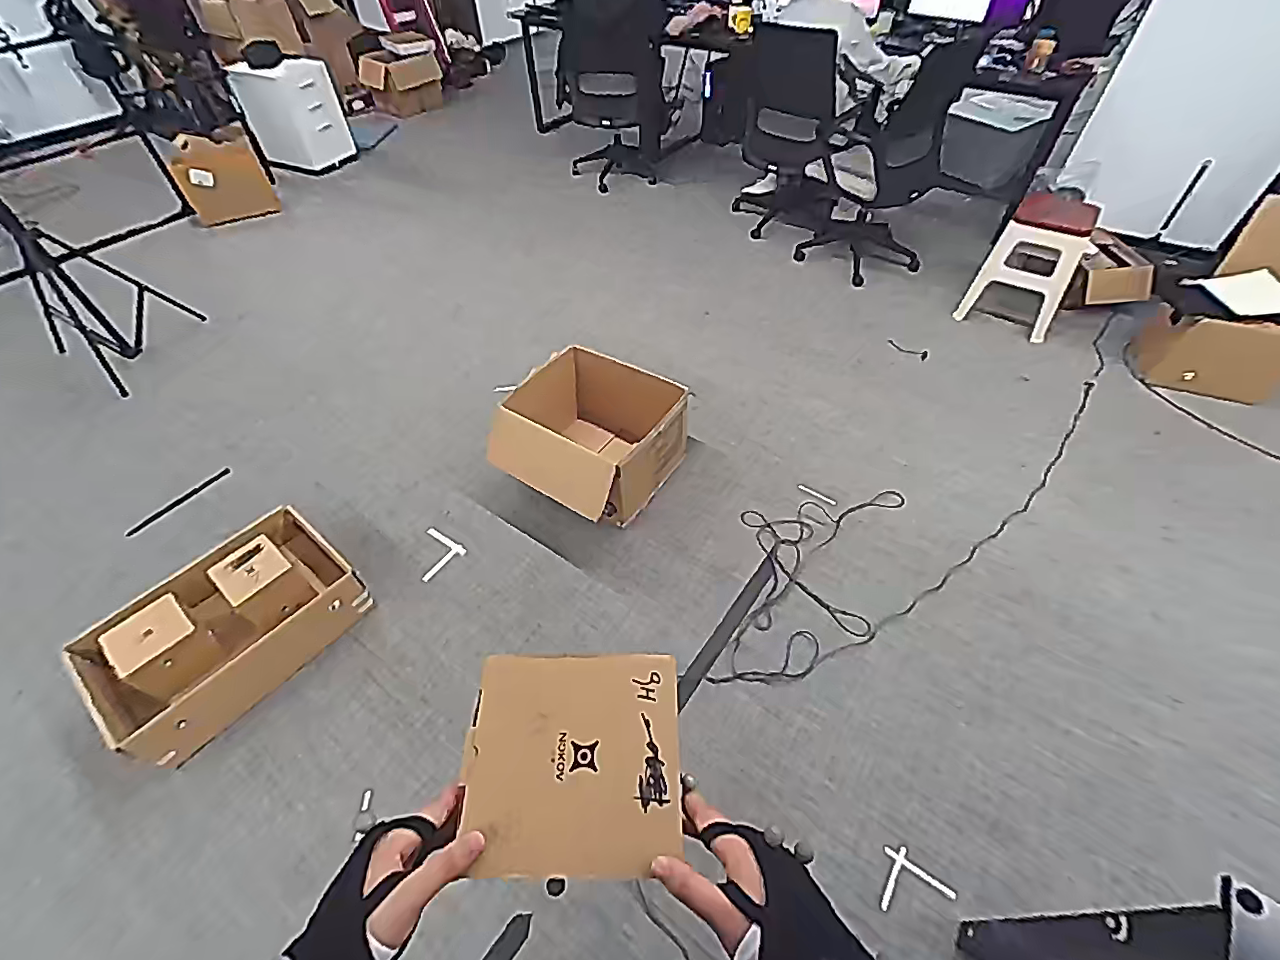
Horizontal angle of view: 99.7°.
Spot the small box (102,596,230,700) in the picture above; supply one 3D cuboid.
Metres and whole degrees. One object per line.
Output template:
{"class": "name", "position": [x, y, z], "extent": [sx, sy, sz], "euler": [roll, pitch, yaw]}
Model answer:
{"class": "small box", "position": [-1.267, 0.455, 1.455], "extent": [0.168, 0.176, 0.179], "euler": [33, 56, 24]}

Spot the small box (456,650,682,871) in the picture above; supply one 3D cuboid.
{"class": "small box", "position": [-0.051, 0.272, 0.519], "extent": [0.179, 0.176, 0.168], "euler": [-1, 55, 1]}
